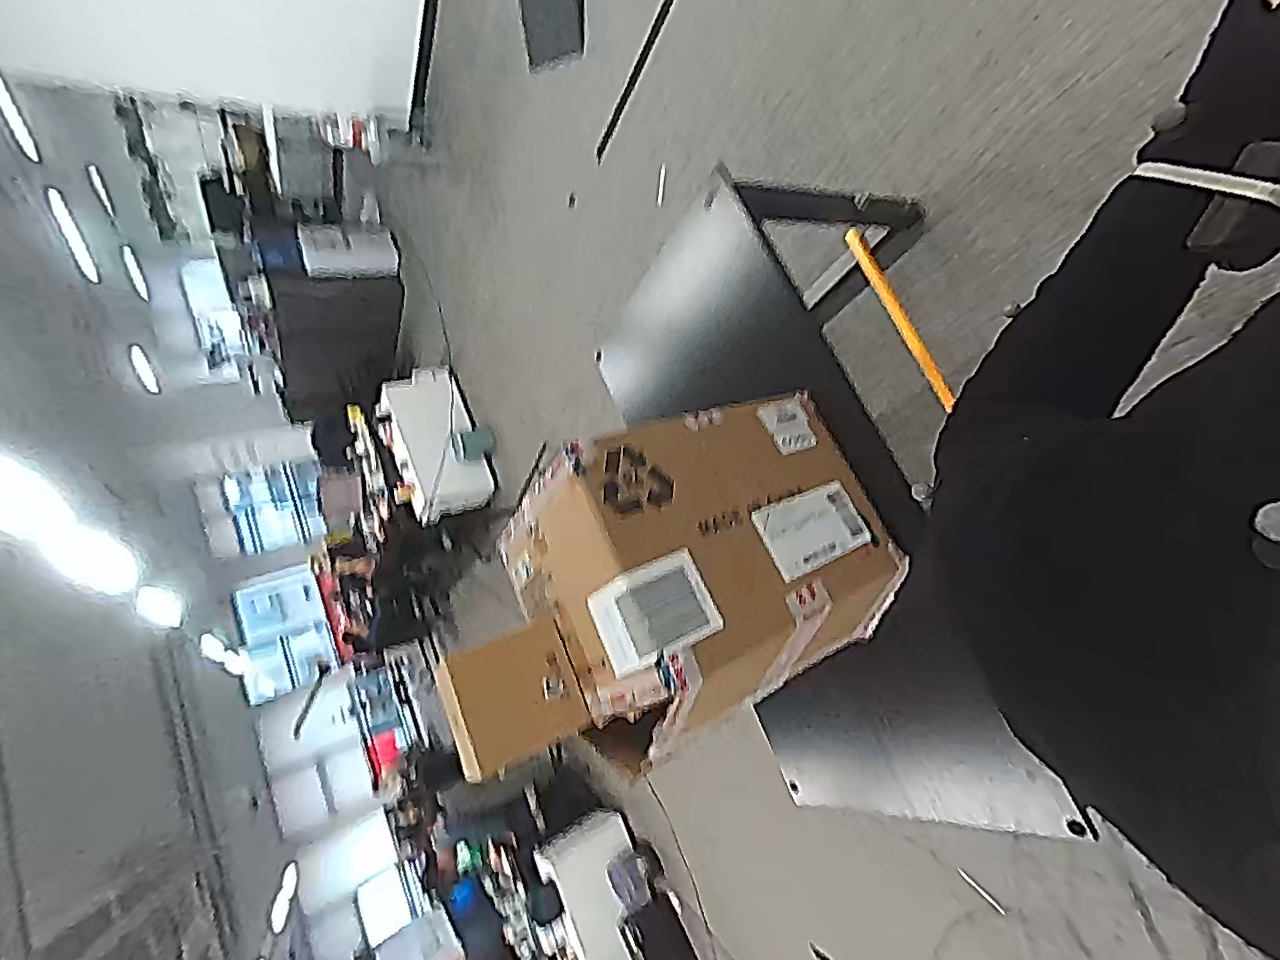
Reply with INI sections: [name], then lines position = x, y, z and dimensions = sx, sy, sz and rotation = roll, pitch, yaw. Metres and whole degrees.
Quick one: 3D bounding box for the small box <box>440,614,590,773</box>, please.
[small box]
position = -0.195, 0.328, 0.833
dimensions = 0.168, 0.176, 0.179
rotation = 63, 147, 17
